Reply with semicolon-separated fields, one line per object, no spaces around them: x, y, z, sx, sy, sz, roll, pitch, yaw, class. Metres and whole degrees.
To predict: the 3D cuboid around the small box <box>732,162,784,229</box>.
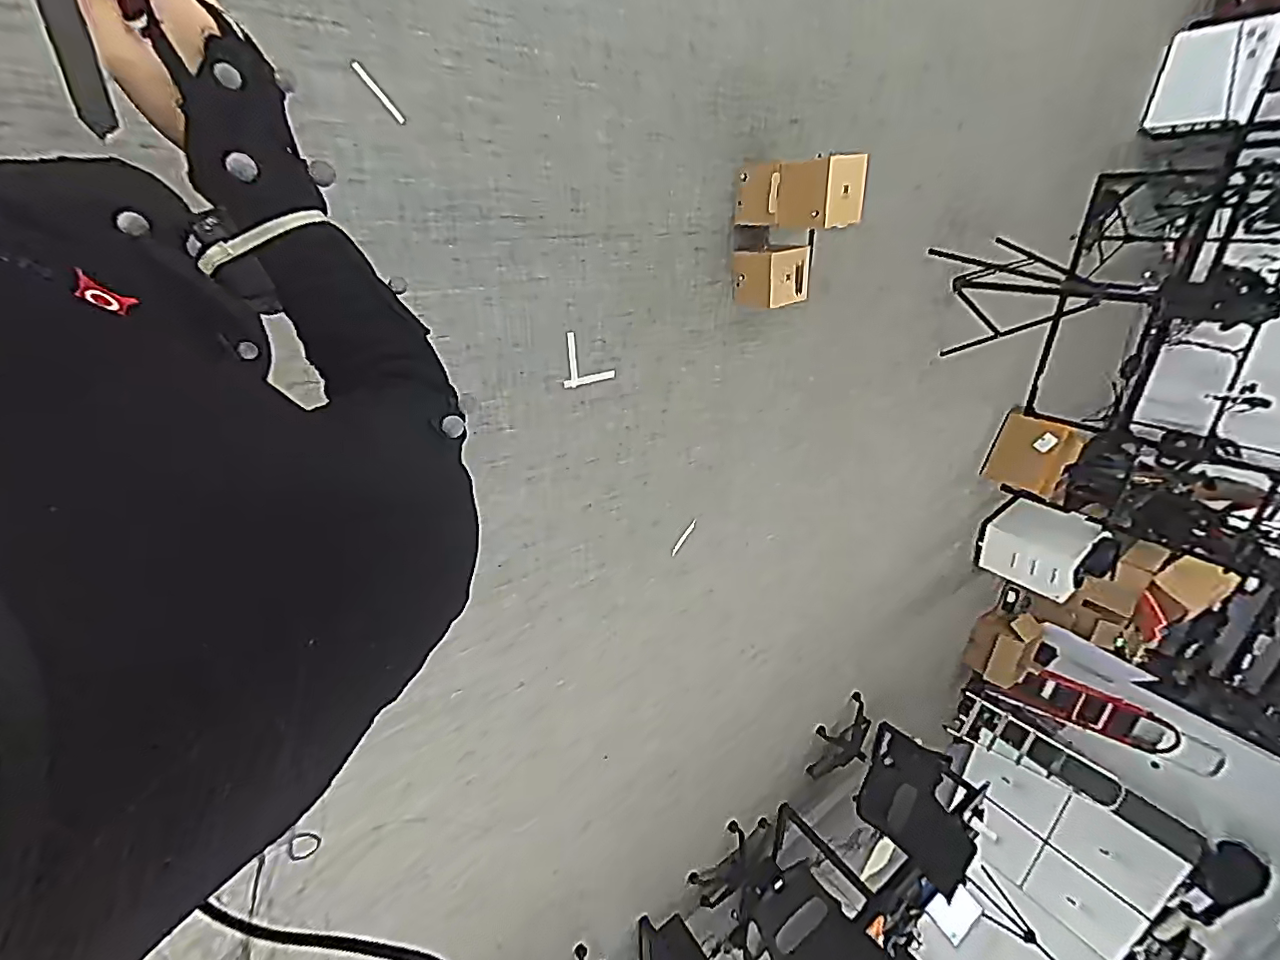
0.403;-0.869;1.665;0.179;0.176;0.168;-15;119;-33;small box

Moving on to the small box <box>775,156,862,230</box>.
0.505;-0.818;1.549;0.168;0.176;0.179;-22;123;-29;small box
